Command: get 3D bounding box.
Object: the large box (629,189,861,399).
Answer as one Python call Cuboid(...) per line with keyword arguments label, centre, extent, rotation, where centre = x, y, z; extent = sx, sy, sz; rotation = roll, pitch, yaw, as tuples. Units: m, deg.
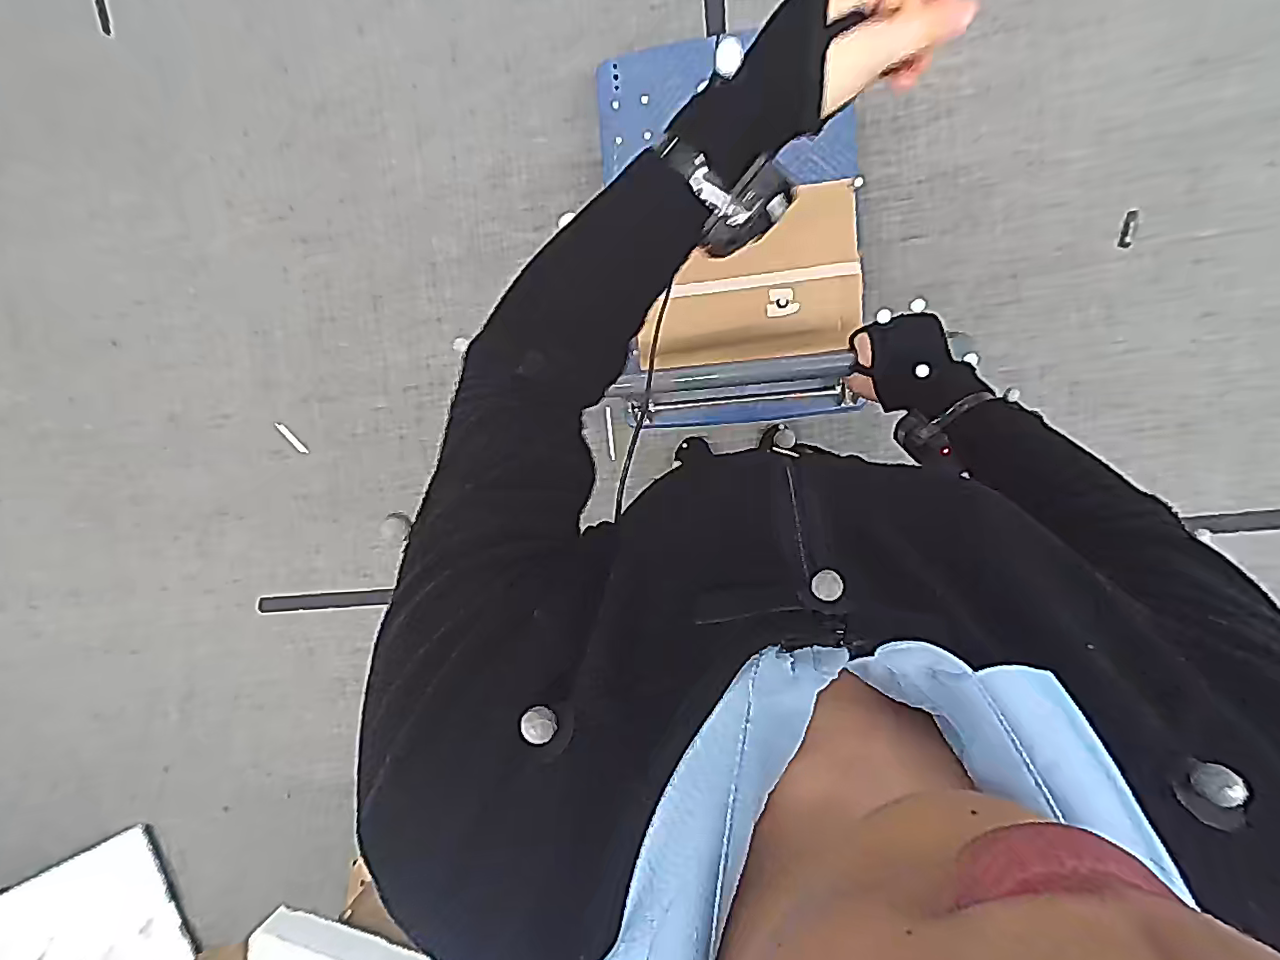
Cuboid(label="large box", centre=(0.208, -0.355, 1.133), extent=(0.408, 0.320, 0.320), rotation=(-4, 94, 9))
